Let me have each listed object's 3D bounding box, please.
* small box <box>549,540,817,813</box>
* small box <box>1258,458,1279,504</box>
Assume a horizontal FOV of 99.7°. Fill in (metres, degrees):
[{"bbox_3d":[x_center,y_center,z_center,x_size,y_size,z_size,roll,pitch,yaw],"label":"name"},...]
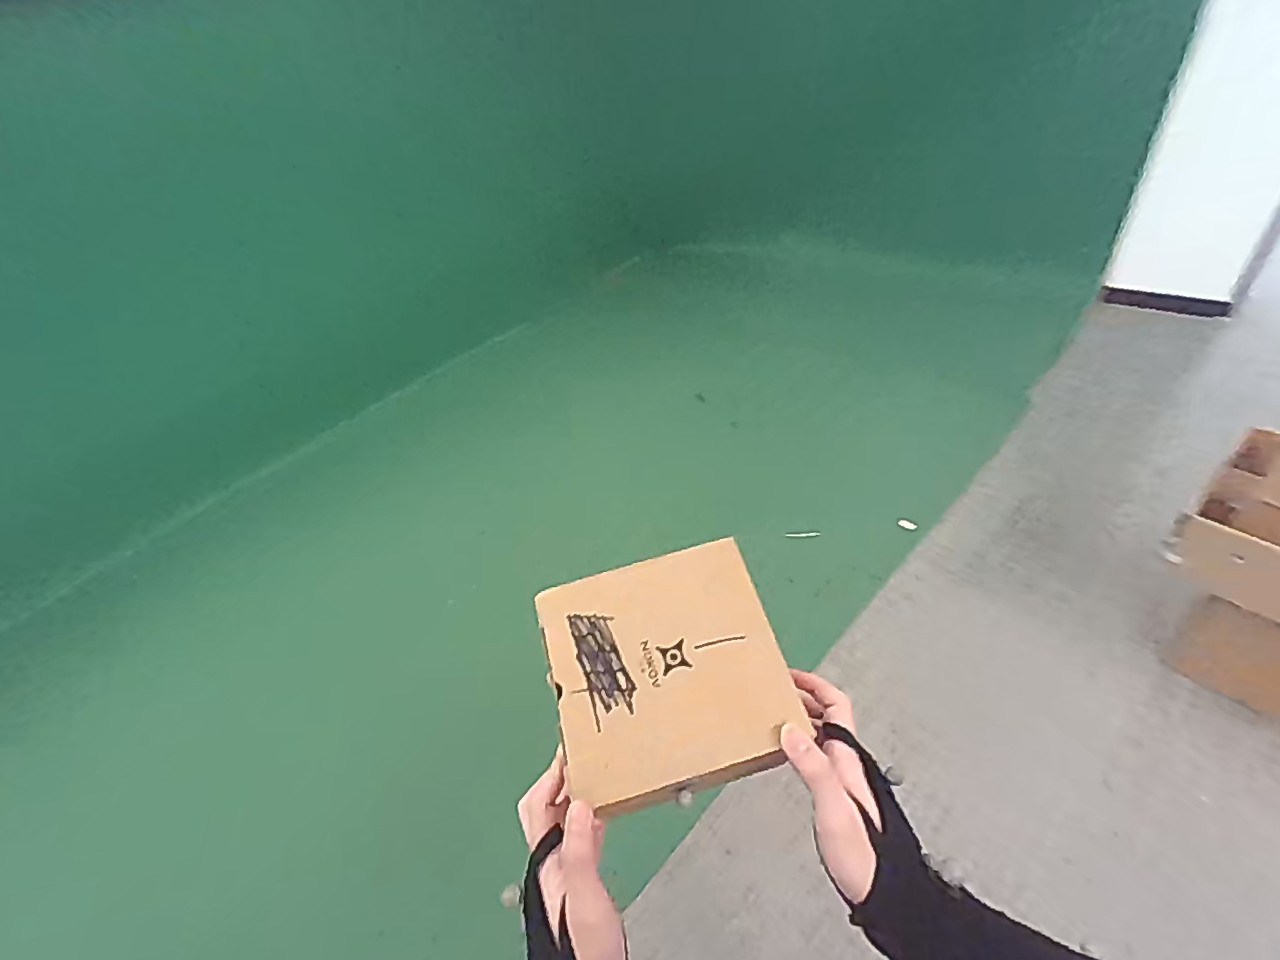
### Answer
[{"bbox_3d":[0.032,0.181,0.482,0.179,0.176,0.168,-14,56,-4],"label":"small box"},{"bbox_3d":[1.397,-0.028,1.068,0.179,0.176,0.168,-33,44,-18],"label":"small box"}]
